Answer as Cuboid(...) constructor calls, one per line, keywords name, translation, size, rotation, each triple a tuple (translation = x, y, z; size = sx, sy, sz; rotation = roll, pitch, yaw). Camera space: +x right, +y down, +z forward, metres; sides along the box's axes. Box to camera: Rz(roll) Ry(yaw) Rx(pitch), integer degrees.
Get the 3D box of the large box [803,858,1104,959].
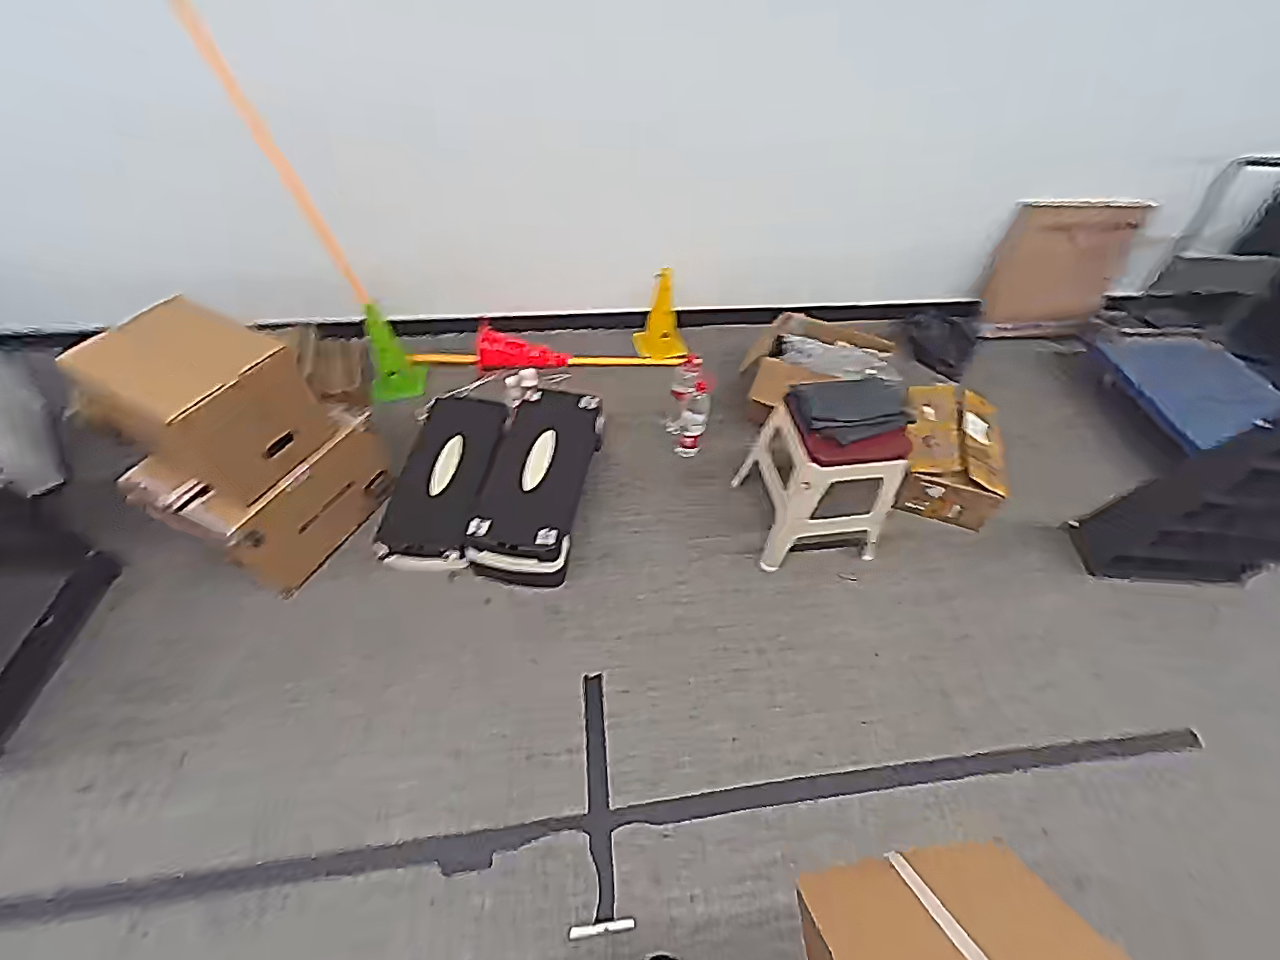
Cuboid(name="large box", translation=(0.424, 0.737, 0.613), size=(0.320, 0.408, 0.320), rotation=(-9, 90, -5))
